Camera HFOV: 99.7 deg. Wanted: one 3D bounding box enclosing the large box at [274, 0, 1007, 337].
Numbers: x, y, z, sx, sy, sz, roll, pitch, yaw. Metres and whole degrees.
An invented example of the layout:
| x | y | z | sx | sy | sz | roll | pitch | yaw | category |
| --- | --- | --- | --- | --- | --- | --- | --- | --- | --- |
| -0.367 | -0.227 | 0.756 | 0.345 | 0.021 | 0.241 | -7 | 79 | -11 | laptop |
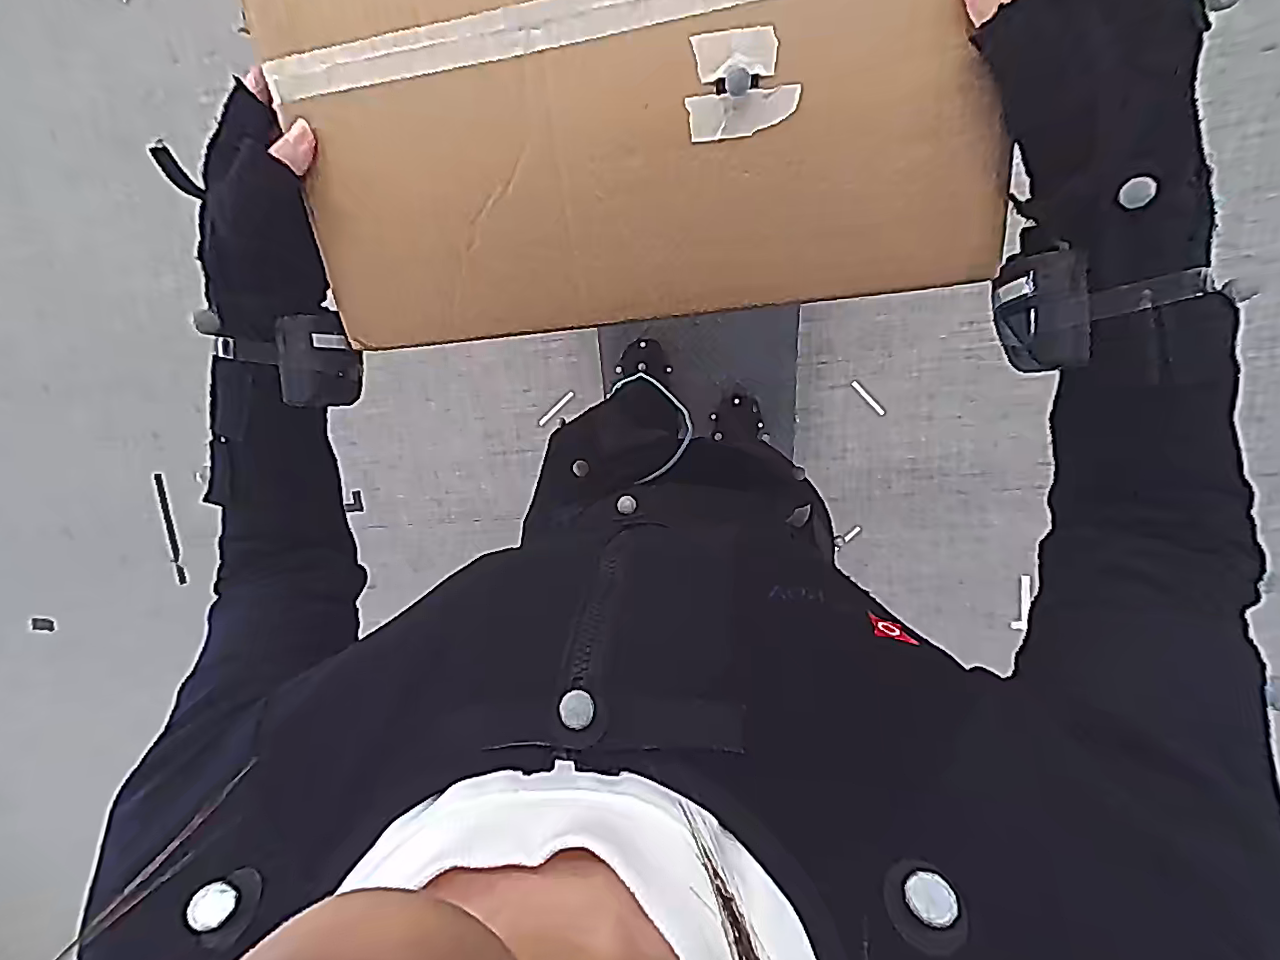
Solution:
| x | y | z | sx | sy | sz | roll | pitch | yaw | category |
| --- | --- | --- | --- | --- | --- | --- | --- | --- | --- |
| 0.004 | -0.311 | 0.431 | 0.408 | 0.320 | 0.320 | -4 | 112 | 10 | large box |
